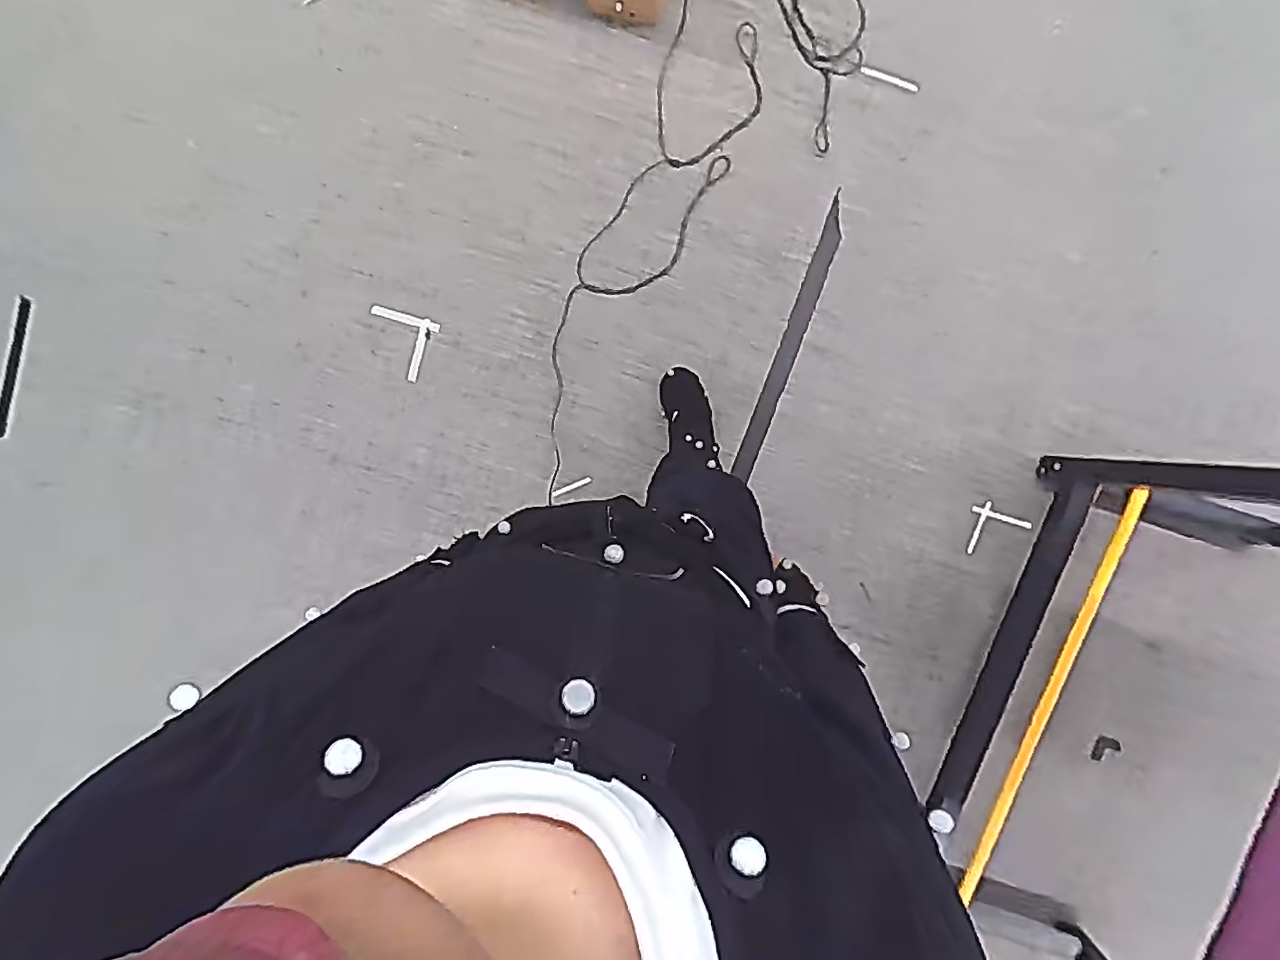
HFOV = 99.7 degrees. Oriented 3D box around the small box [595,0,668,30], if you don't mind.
[{"bbox_3d":[-0.013,-1.142,1.171,0.168,0.176,0.179,15,96,1],"label":"small box"}]
